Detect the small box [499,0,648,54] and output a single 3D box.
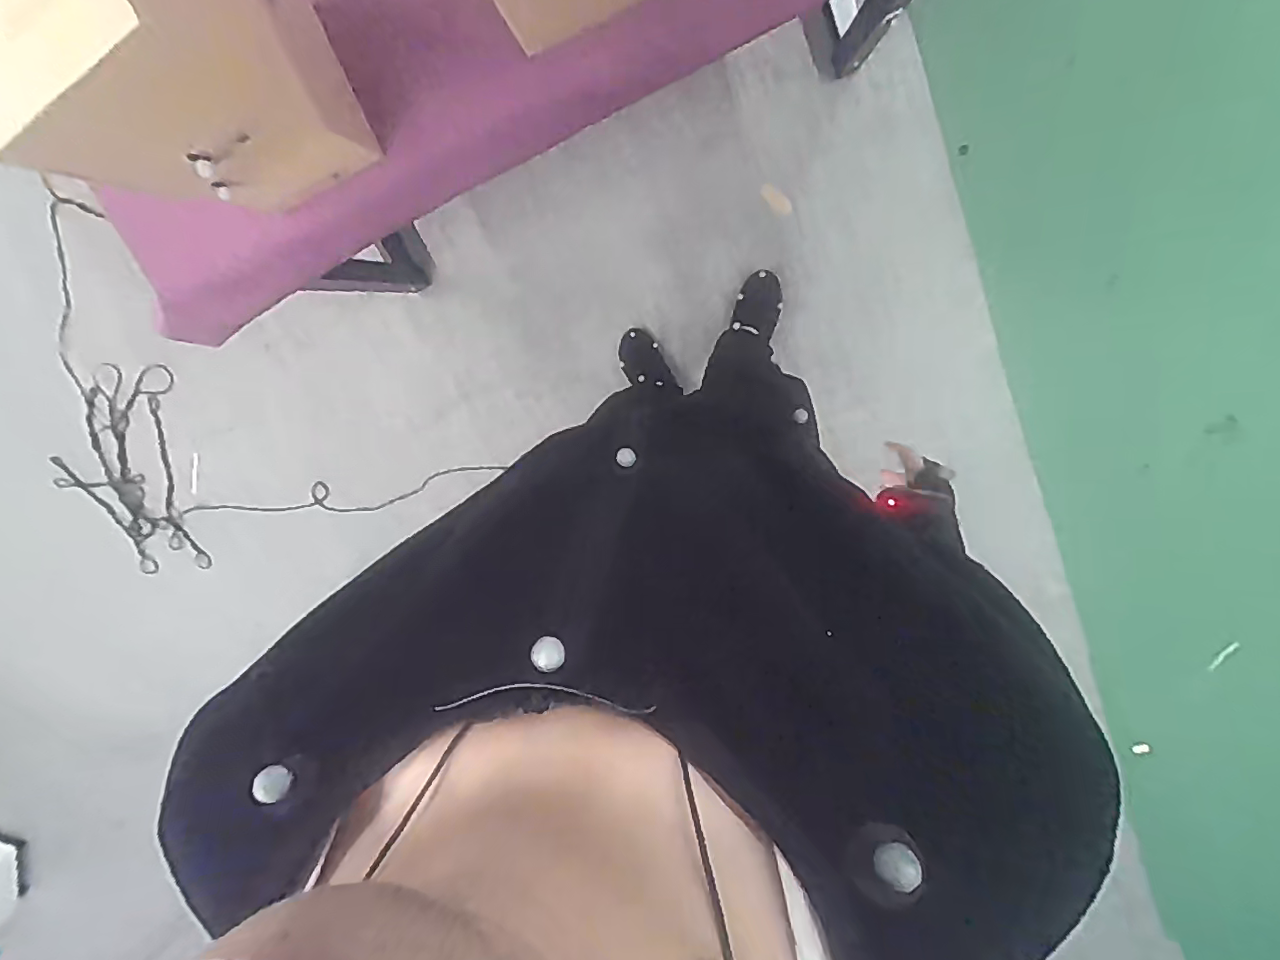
[{"bbox_3d":[-0.080,-0.555,0.508,0.179,0.176,0.168,-20,105,10],"label":"small box"}]
